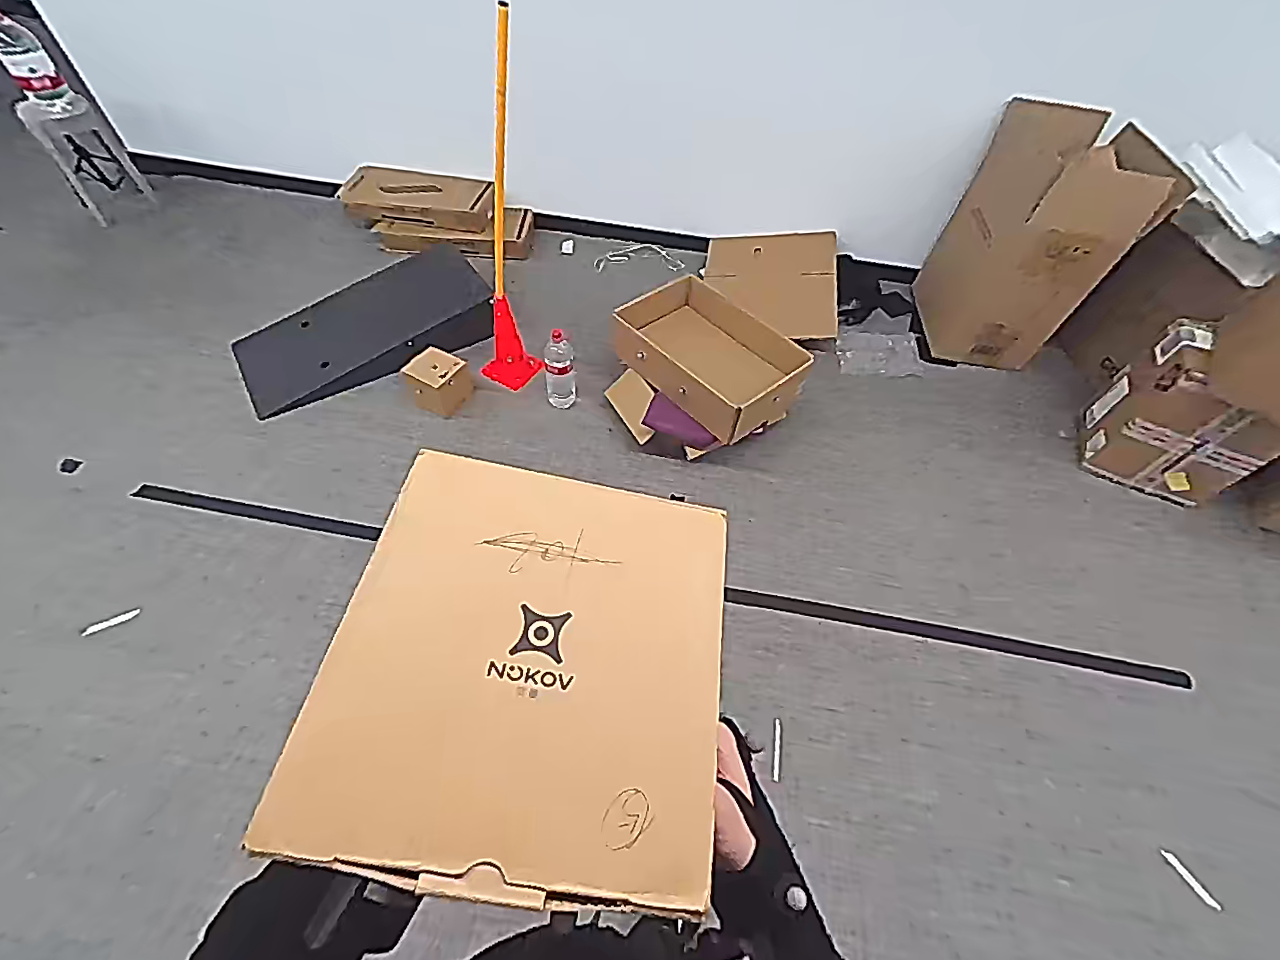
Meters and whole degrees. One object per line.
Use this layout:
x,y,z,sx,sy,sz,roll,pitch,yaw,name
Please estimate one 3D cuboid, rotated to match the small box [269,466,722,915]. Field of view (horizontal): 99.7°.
-0.059,0.122,0.312,0.168,0.176,0.179,12,54,-5,small box
